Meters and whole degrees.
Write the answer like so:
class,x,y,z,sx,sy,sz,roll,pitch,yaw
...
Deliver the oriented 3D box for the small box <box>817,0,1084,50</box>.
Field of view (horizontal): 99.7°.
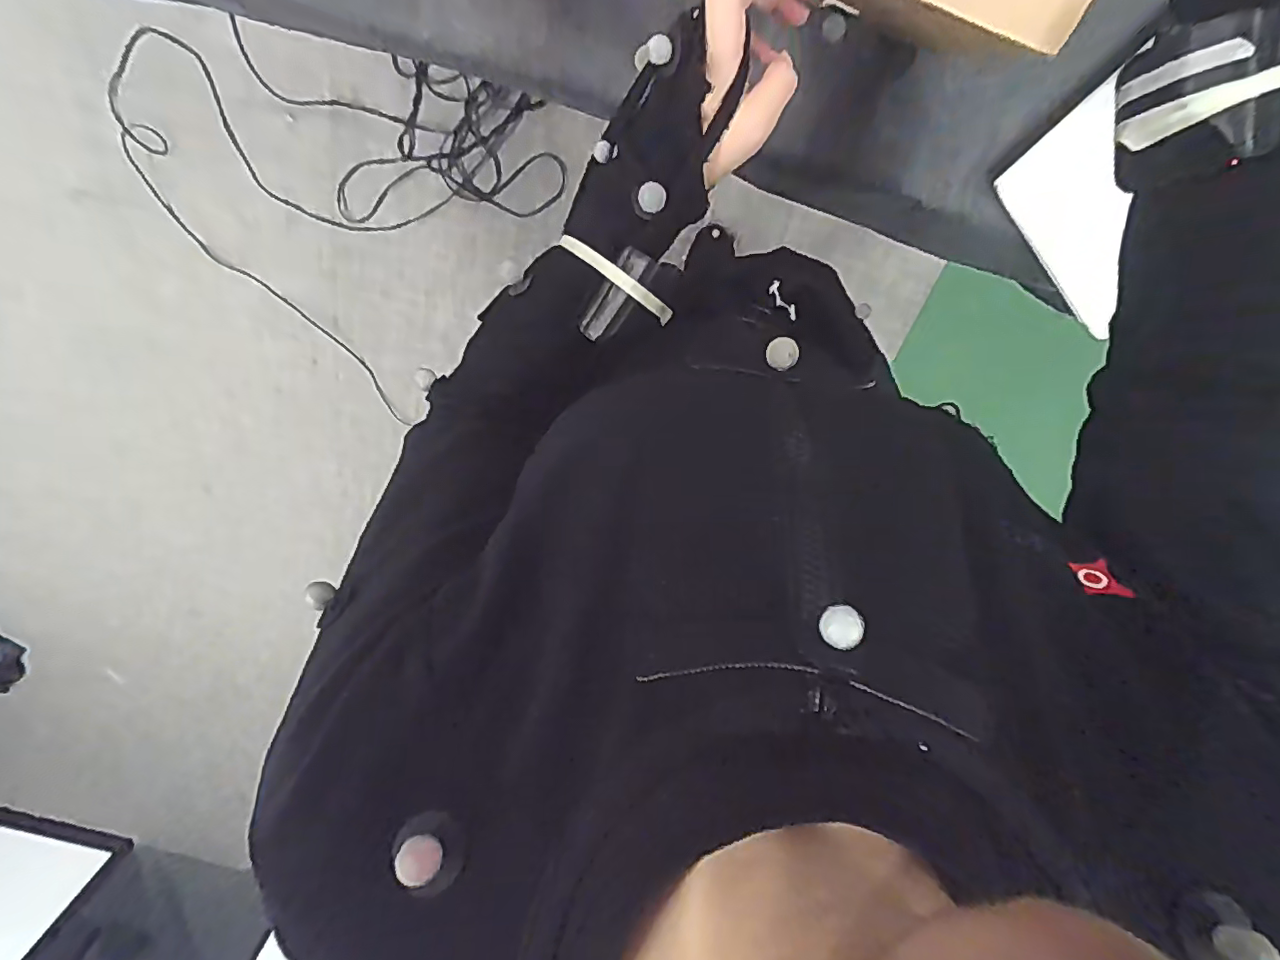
class,x,y,z,sx,sy,sz,roll,pitch,yaw
small box,0.175,-0.366,0.291,0.168,0.176,0.179,16,128,-6
